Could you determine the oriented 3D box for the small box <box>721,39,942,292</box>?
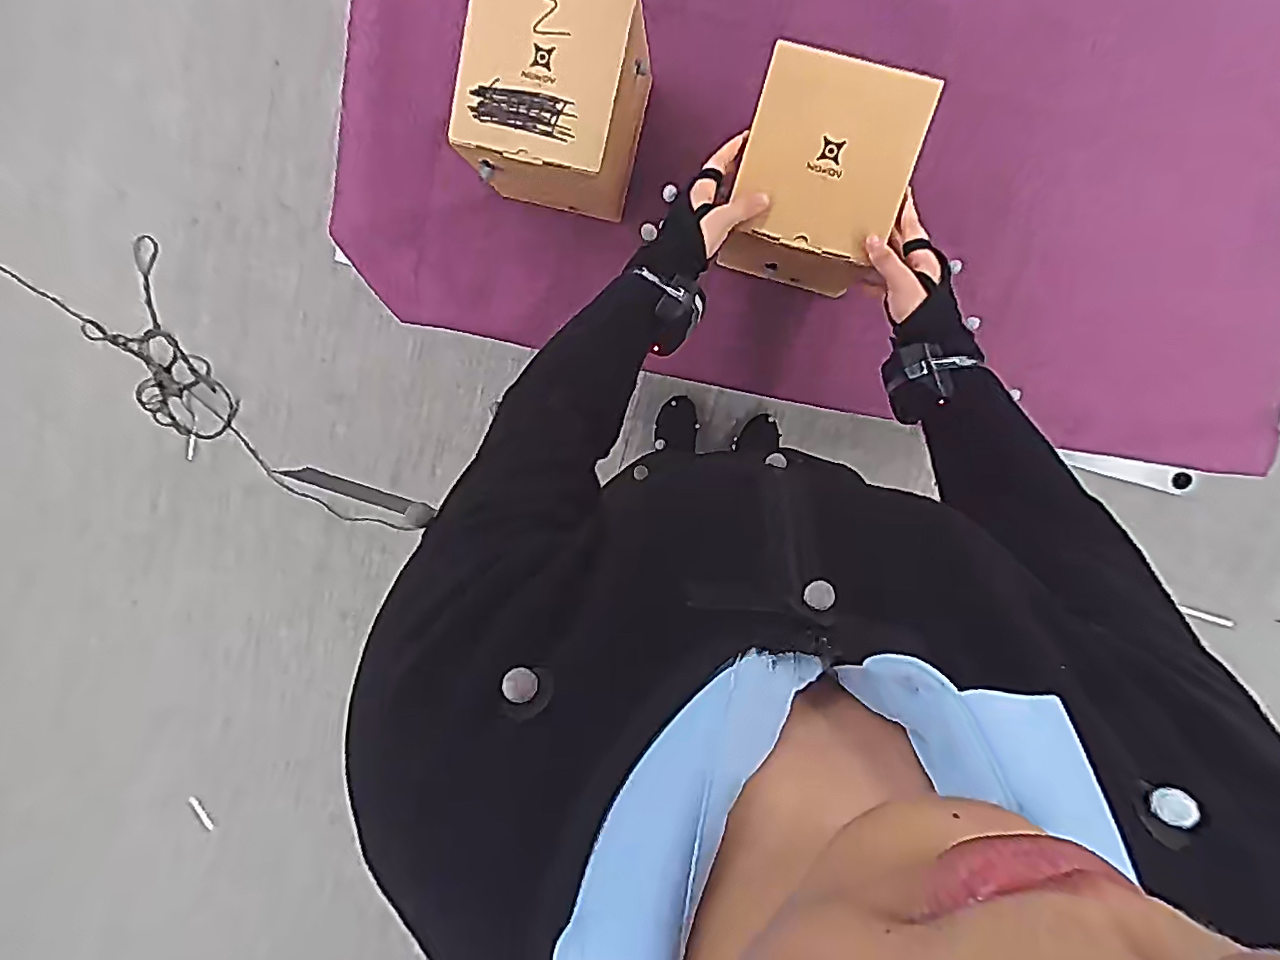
[{"bbox_3d":[0.193,-0.332,0.608,0.168,0.176,0.179,17,101,3],"label":"small box"}]
